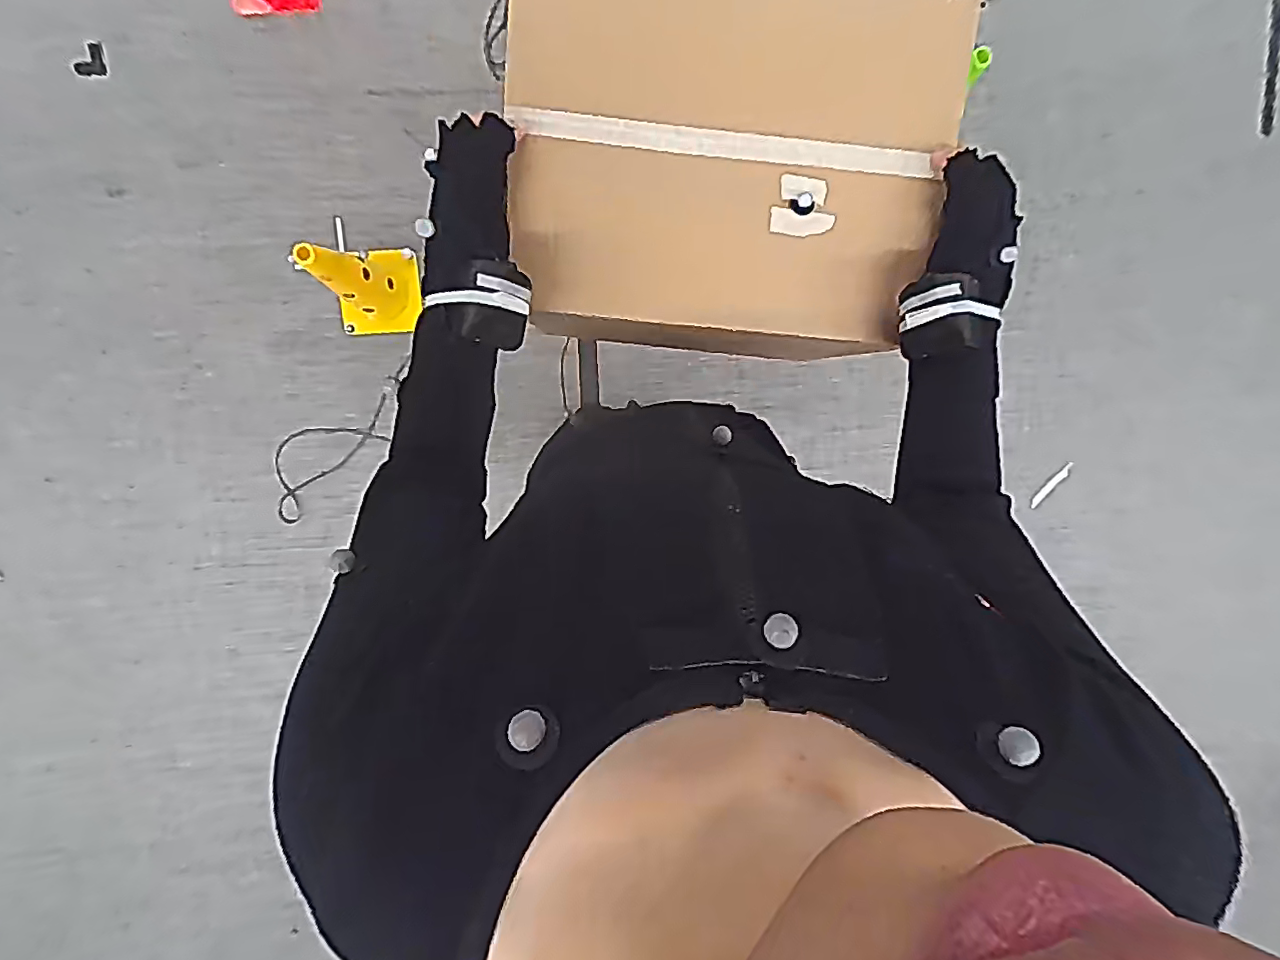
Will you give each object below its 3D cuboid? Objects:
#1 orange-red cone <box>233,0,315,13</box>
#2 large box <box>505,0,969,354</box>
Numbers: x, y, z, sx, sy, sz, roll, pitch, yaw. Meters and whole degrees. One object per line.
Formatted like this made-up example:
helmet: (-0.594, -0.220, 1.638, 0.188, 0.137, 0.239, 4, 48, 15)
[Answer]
orange-red cone: (-0.846, -1.163, 1.077, 0.198, 0.360, 0.199, -6, 100, -2)
large box: (0.073, -0.328, 0.632, 0.408, 0.320, 0.320, 5, 100, -4)
